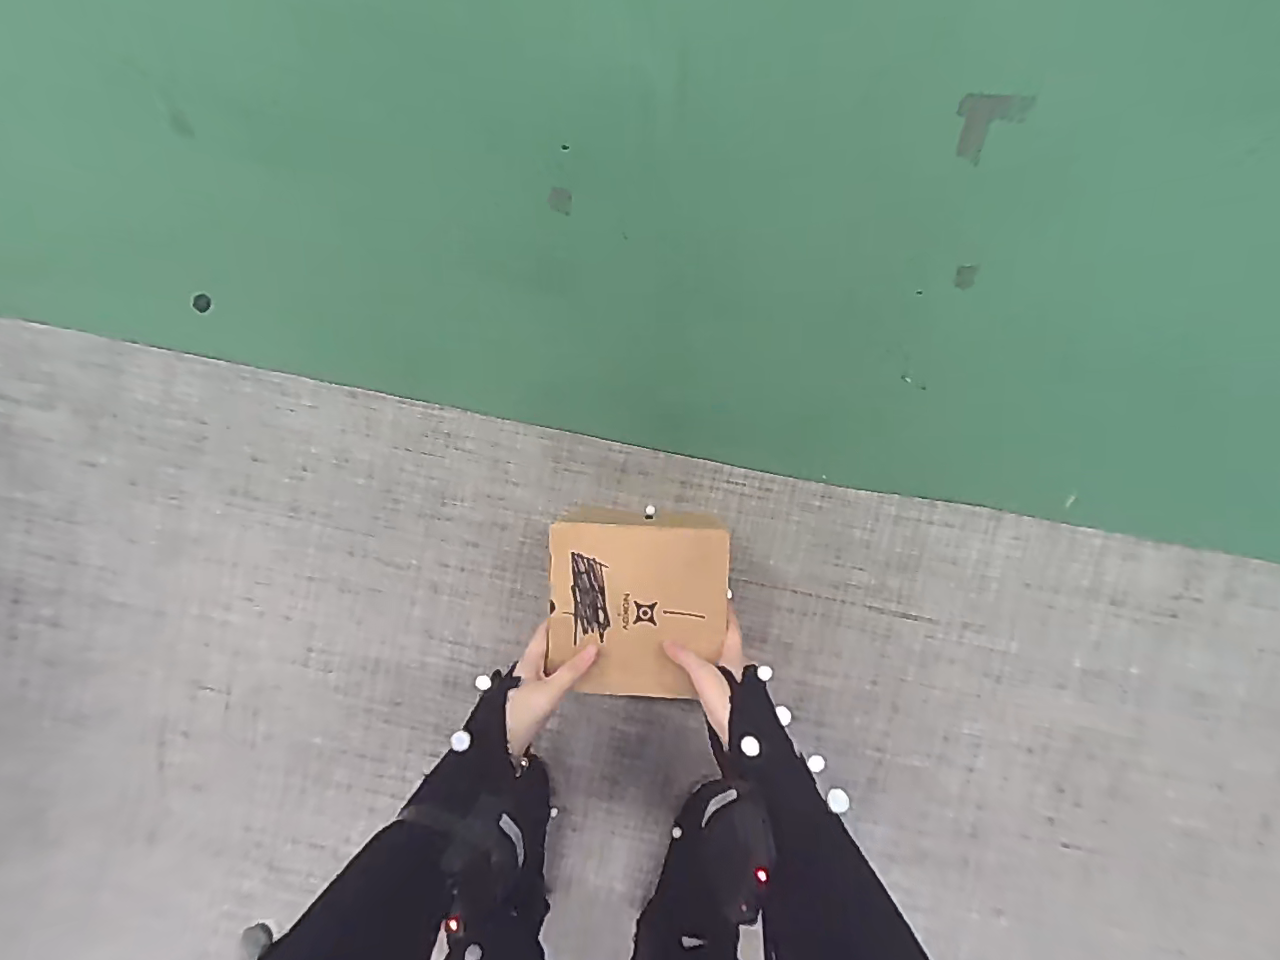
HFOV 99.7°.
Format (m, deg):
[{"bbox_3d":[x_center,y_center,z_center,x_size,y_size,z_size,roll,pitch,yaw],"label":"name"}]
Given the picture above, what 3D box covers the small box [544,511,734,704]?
[{"bbox_3d":[0.002,0.123,0.585,0.179,0.176,0.168,2,91,2],"label":"small box"}]
